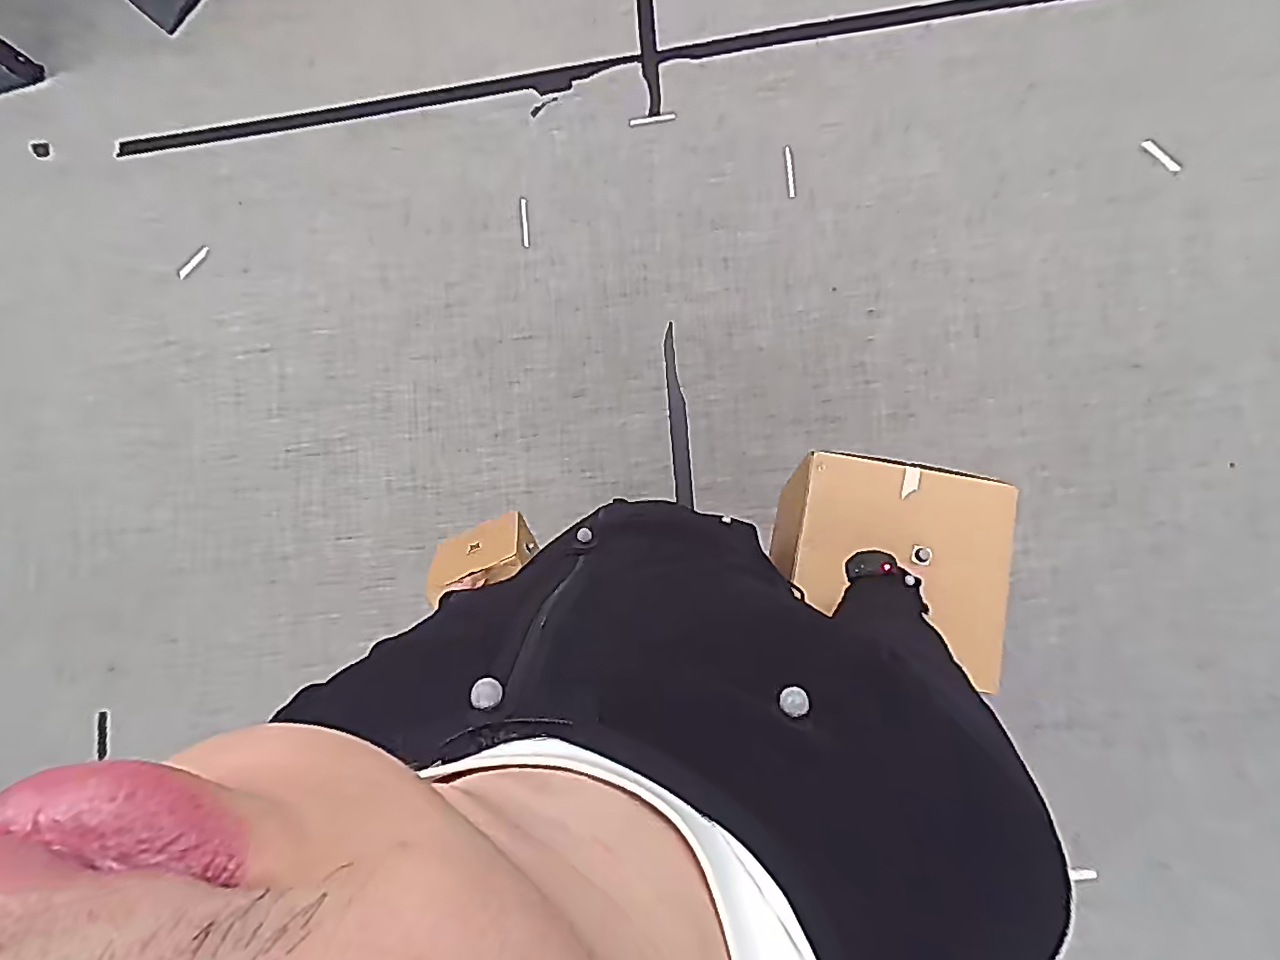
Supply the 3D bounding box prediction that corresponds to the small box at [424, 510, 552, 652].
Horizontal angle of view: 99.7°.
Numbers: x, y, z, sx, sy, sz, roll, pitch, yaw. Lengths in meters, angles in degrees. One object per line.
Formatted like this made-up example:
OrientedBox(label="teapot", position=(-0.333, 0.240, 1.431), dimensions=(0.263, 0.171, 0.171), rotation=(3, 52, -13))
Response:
OrientedBox(label="small box", position=(-0.269, 0.190, 0.997), dimensions=(0.168, 0.179, 0.176), rotation=(-22, 117, -1))
